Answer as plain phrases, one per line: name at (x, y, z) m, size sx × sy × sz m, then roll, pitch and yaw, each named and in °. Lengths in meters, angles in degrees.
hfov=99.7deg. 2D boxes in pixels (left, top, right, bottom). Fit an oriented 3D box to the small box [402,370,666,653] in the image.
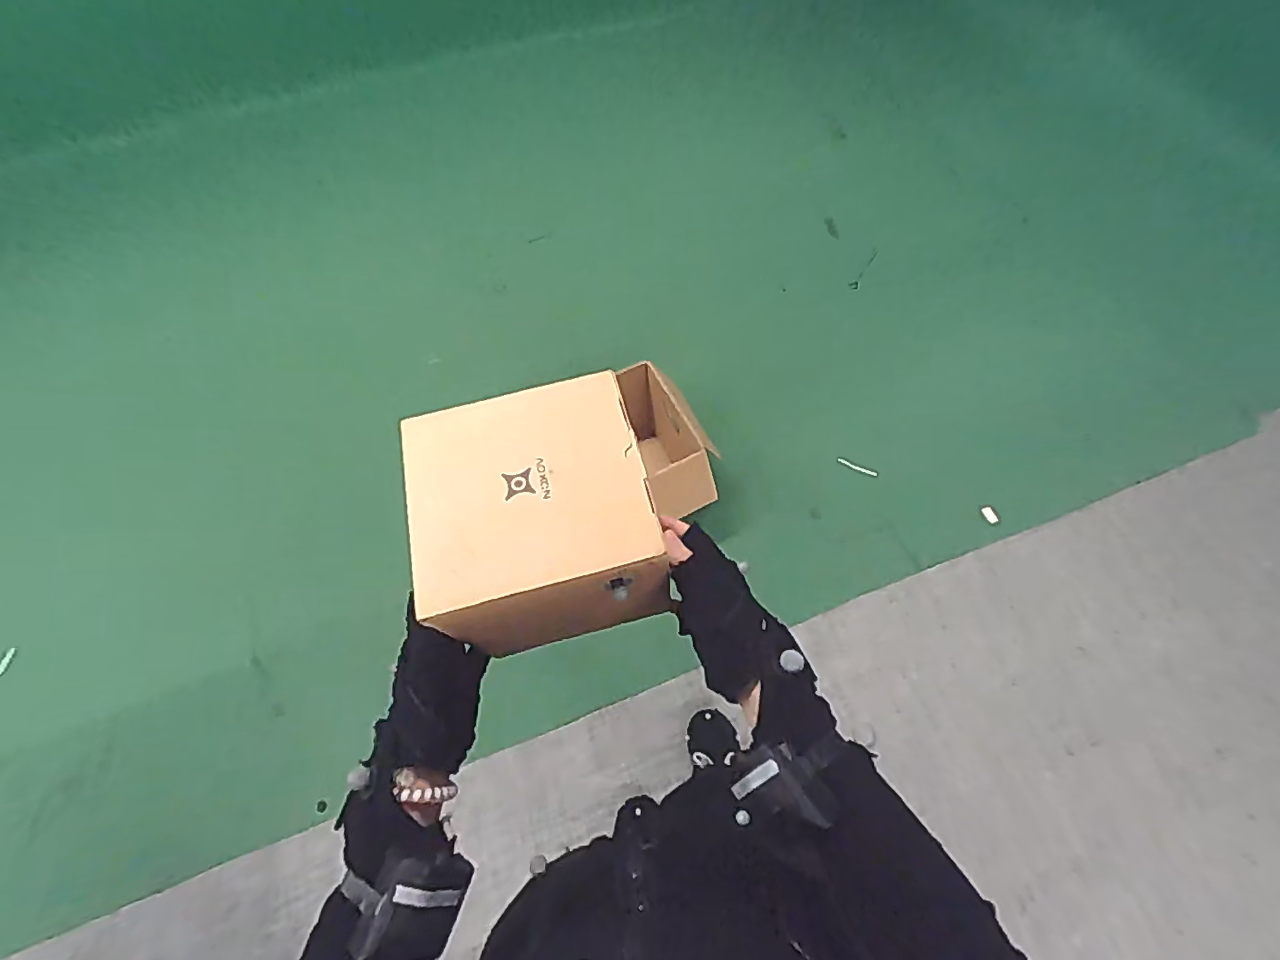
small box at (-0.081, 0.037, 0.468) m, size 0.179 × 0.176 × 0.168 m, roll -15°, pitch 63°, yaw -4°
